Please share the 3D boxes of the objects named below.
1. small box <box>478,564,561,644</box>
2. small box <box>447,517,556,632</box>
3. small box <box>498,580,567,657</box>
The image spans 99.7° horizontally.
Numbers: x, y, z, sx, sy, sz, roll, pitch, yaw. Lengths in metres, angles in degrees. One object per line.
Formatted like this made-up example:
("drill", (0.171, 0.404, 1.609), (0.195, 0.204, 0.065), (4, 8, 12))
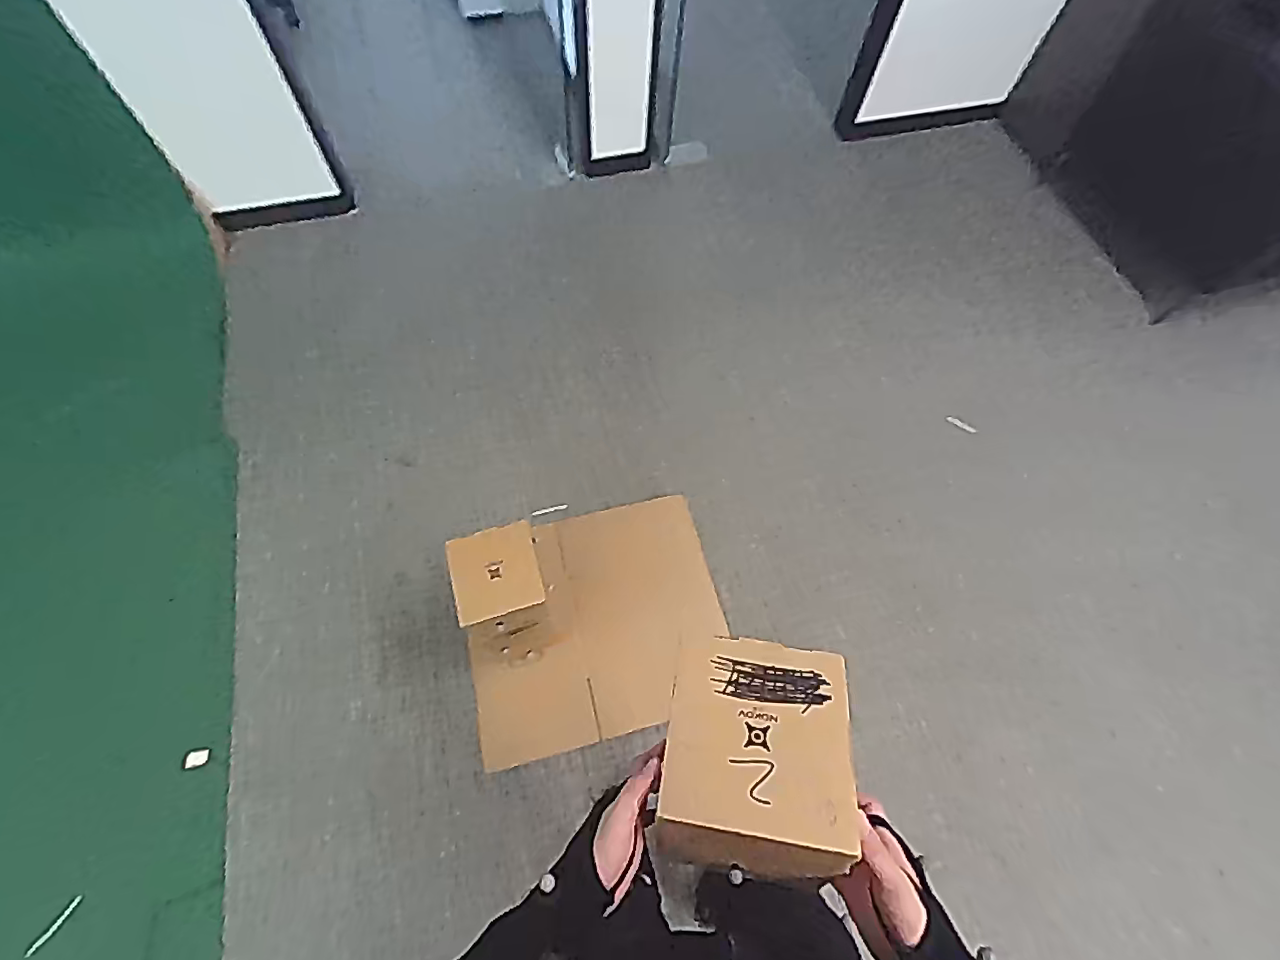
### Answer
("small box", (-0.289, 0.271, 1.256), (0.168, 0.176, 0.179), (-16, 66, -10))
("small box", (-0.277, 0.201, 1.111), (0.168, 0.176, 0.179), (-16, 66, -9))
("small box", (-0.295, 0.340, 1.405), (0.168, 0.176, 0.179), (-19, 68, -11))
